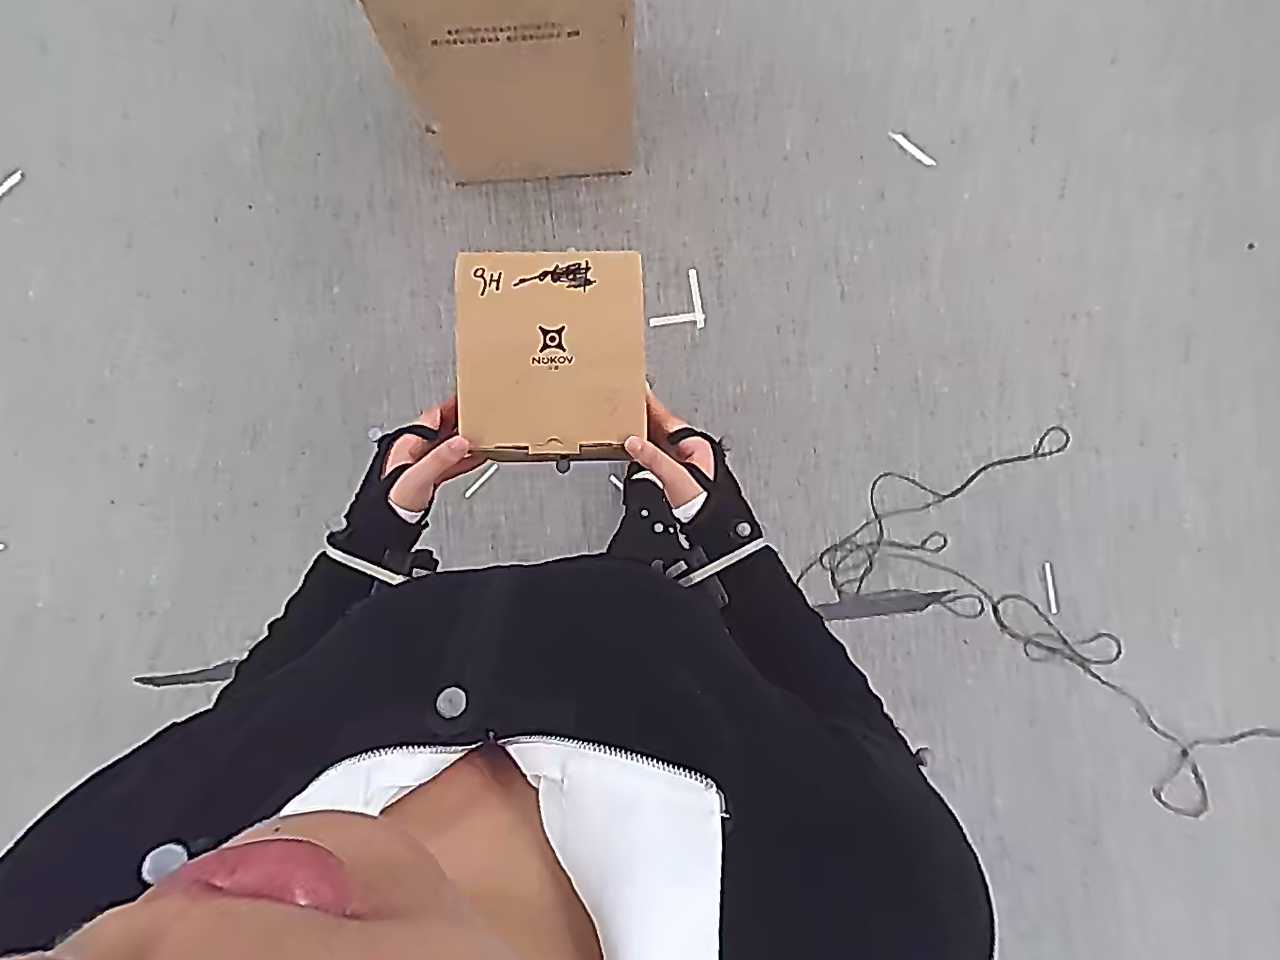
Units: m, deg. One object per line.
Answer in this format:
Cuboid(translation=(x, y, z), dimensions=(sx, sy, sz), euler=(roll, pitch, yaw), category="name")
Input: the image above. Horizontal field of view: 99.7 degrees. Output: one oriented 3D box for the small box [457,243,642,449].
Cuboid(translation=(-0.082, -0.122, 0.559), dimensions=(0.168, 0.176, 0.179), euler=(-2, 89, -2), category="small box")
